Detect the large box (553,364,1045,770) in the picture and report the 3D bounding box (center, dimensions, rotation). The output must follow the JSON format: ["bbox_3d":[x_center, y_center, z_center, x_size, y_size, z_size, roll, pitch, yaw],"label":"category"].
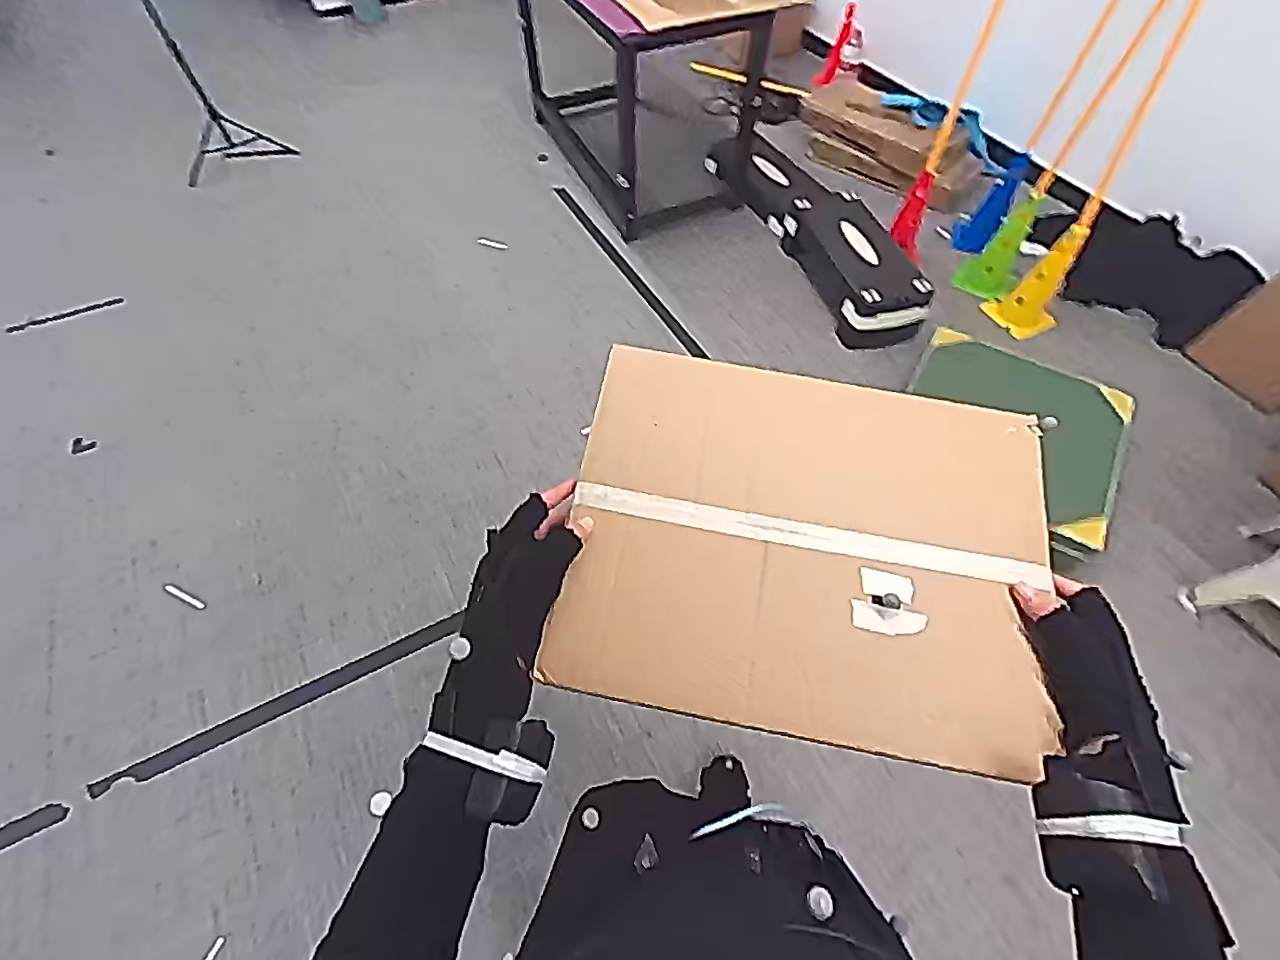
[{"bbox_3d":[0.142,0.106,0.619,0.408,0.320,0.320,10,71,2],"label":"large box"}]
